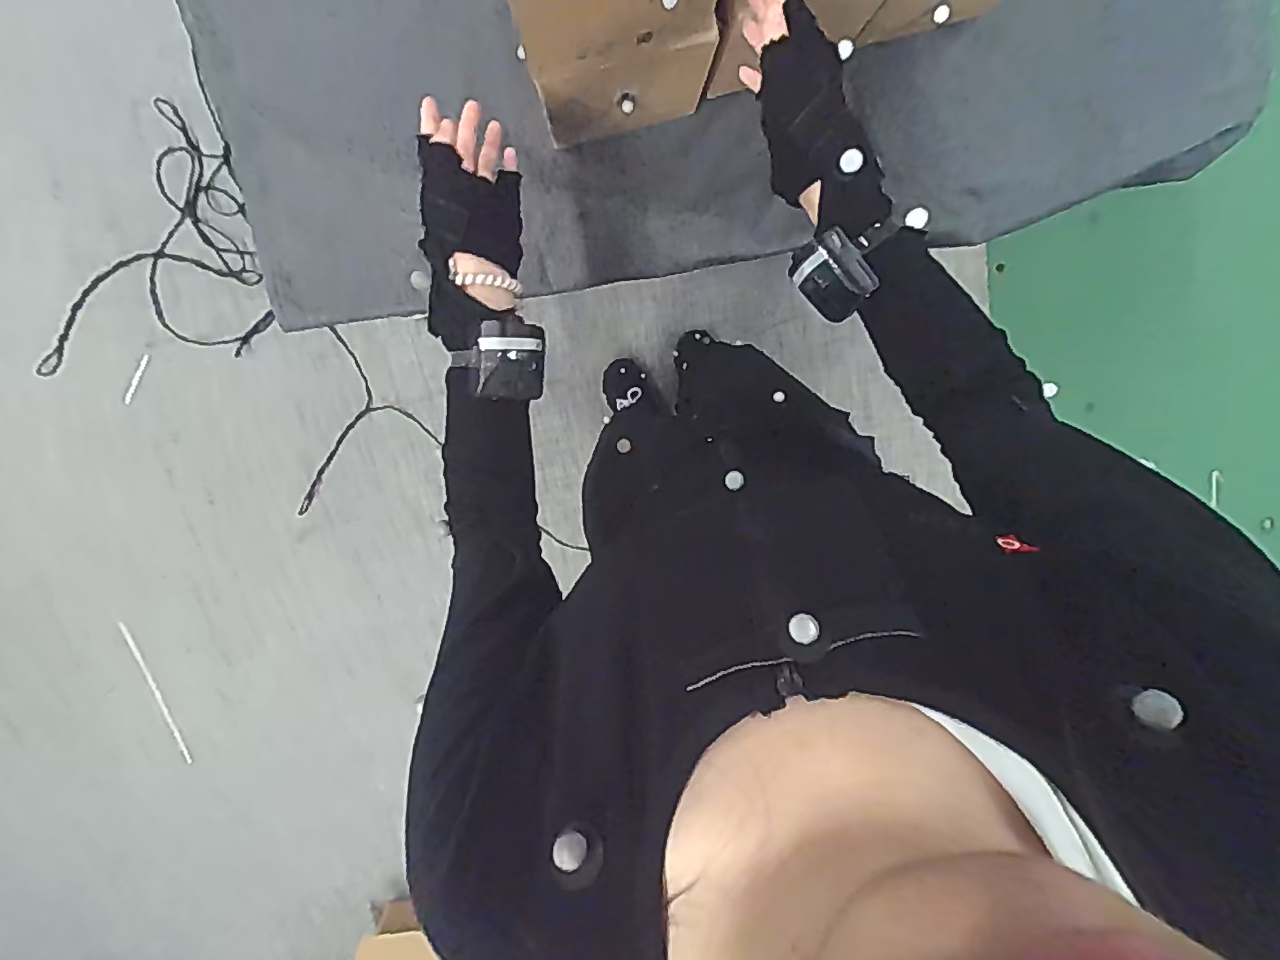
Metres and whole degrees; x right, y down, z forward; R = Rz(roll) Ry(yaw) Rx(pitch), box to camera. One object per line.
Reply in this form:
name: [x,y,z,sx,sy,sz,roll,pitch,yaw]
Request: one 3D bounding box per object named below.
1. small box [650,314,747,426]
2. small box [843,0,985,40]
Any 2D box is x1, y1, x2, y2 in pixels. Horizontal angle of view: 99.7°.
small box: [0.141,-0.270,1.347,0.168,0.176,0.179,37,72,20]
small box: [0.309,-0.602,0.543,0.168,0.176,0.179,-14,103,1]
